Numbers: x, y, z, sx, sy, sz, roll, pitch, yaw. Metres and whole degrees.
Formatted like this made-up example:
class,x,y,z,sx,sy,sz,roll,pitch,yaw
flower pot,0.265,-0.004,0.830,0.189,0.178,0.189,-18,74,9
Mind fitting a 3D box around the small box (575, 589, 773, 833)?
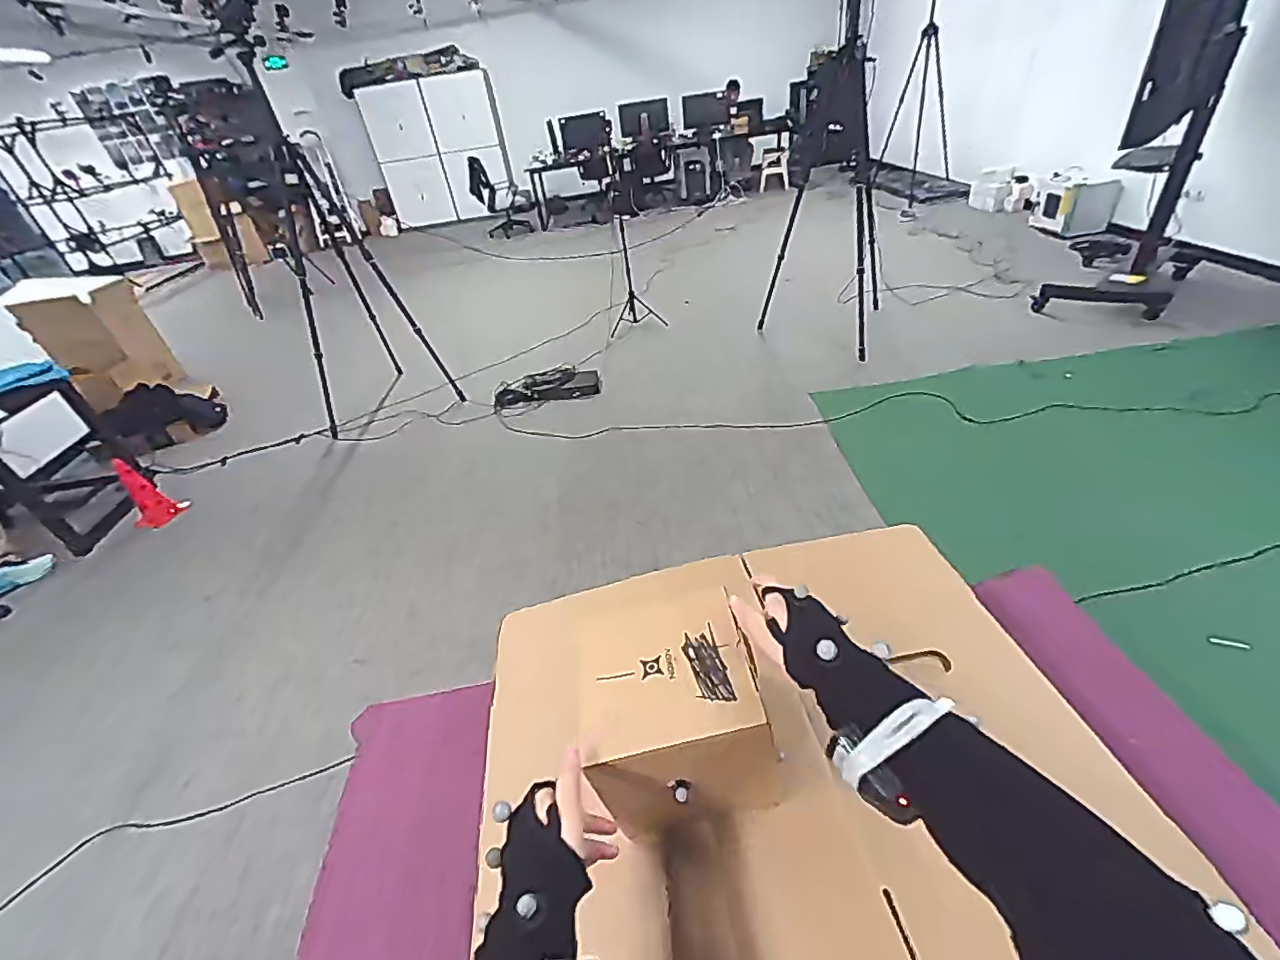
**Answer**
class,x,y,z,sx,sy,sz,roll,pitch,yaw
small box,0.038,0.253,0.592,0.179,0.176,0.168,-17,37,4
